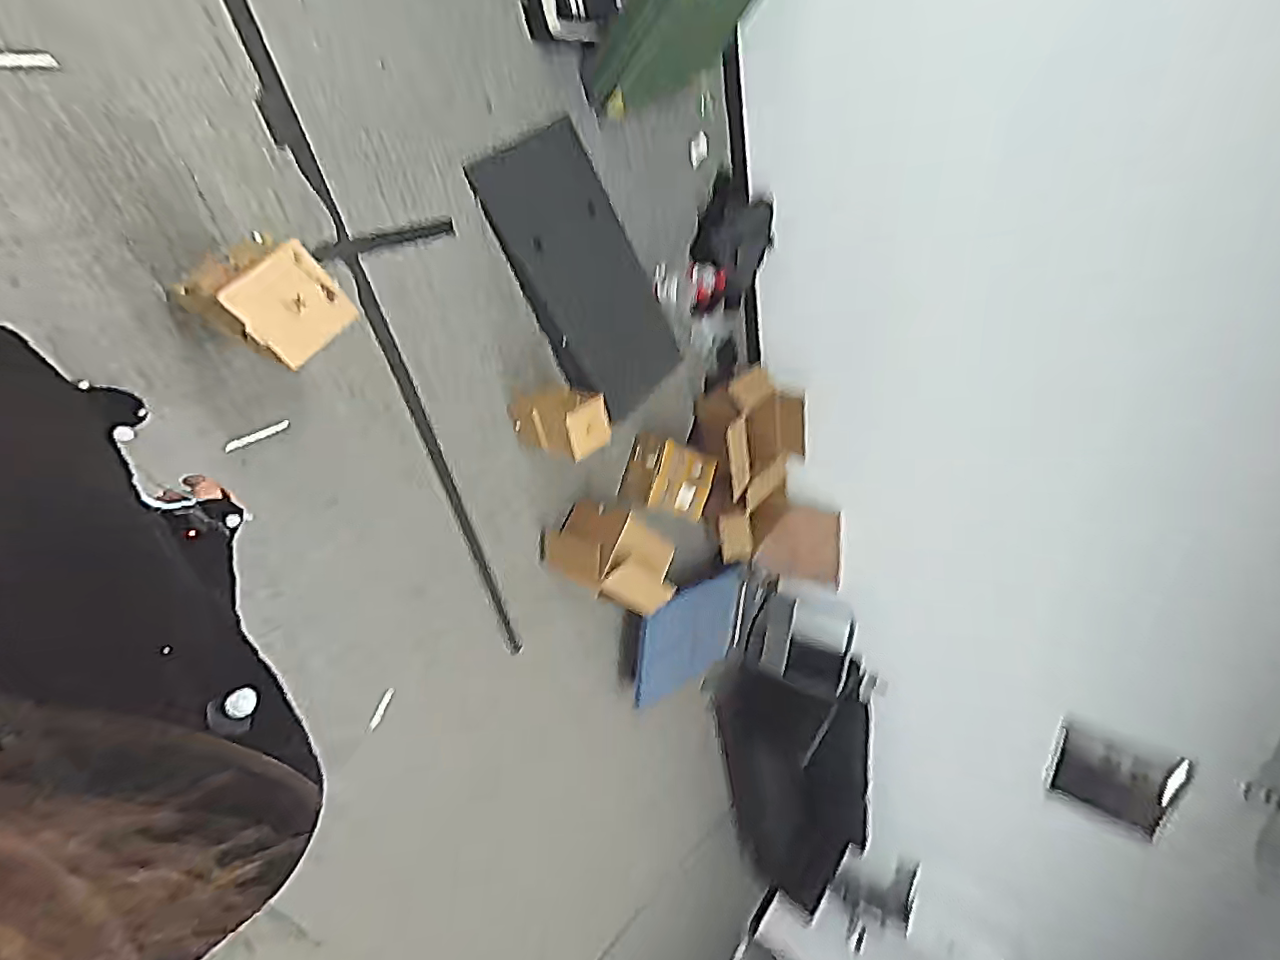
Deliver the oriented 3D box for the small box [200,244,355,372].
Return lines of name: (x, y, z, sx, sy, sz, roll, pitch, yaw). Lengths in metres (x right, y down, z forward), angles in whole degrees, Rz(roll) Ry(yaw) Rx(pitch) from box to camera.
small box: (-0.708, -0.333, 1.053, 0.179, 0.176, 0.168, -53, 137, -23)
